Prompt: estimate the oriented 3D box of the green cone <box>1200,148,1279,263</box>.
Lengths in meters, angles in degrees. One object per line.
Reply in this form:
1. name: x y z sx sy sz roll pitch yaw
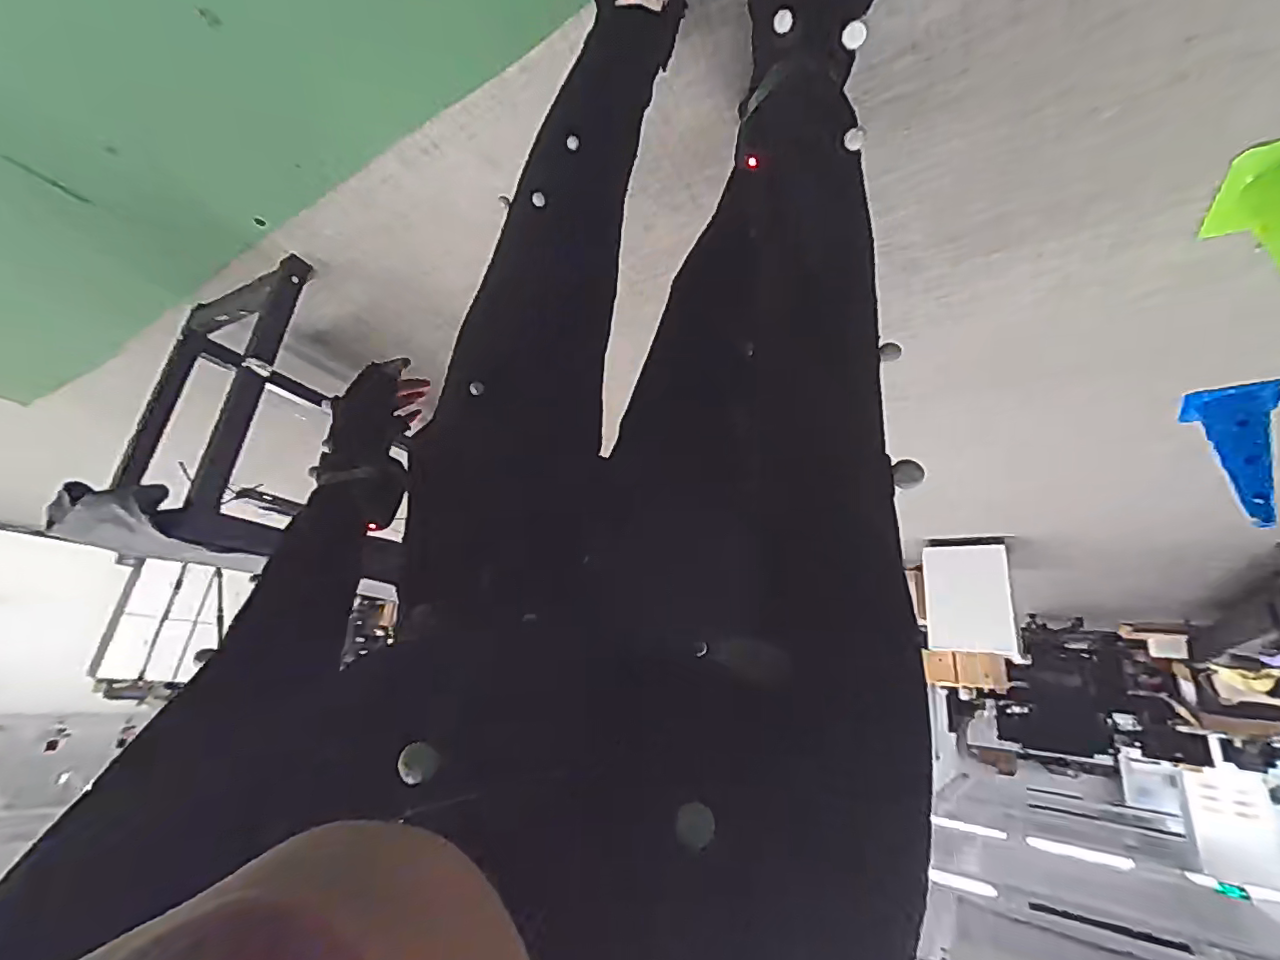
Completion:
1. green cone: 1.067 -0.327 0.833 0.200 0.368 0.202 -6 157 30
